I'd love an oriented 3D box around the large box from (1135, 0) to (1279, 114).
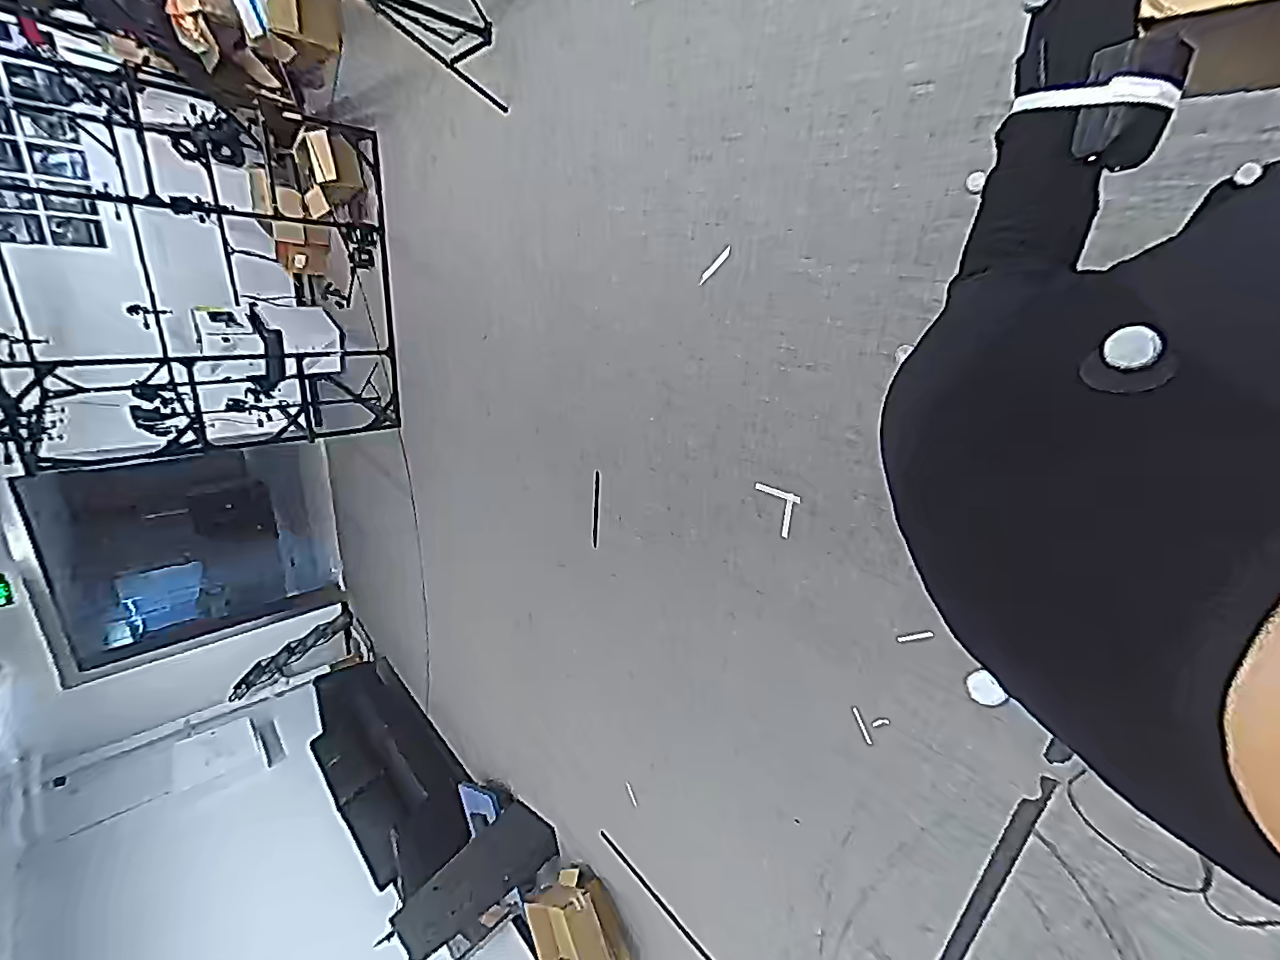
[{"bbox_3d":[0.556,-0.410,0.261,0.408,0.320,0.320,21,122,39],"label":"large box"}]
